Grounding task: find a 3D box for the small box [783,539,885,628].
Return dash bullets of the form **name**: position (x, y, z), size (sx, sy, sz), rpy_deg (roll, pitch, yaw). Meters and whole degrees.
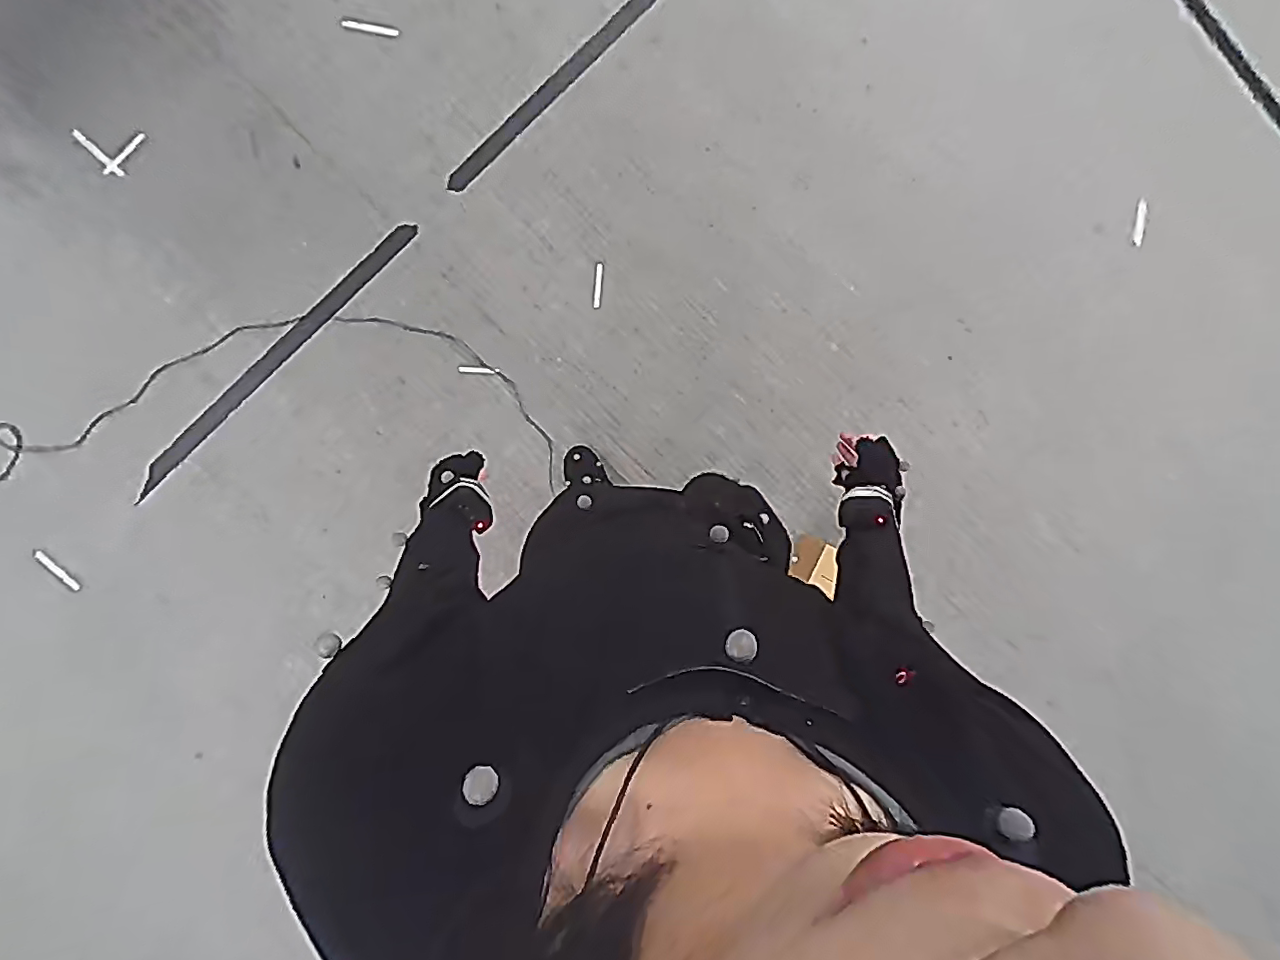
- **small box**: position (0.523, 0.274, 1.480), size (0.179, 0.176, 0.168), rpy_deg (25, 91, -4)
